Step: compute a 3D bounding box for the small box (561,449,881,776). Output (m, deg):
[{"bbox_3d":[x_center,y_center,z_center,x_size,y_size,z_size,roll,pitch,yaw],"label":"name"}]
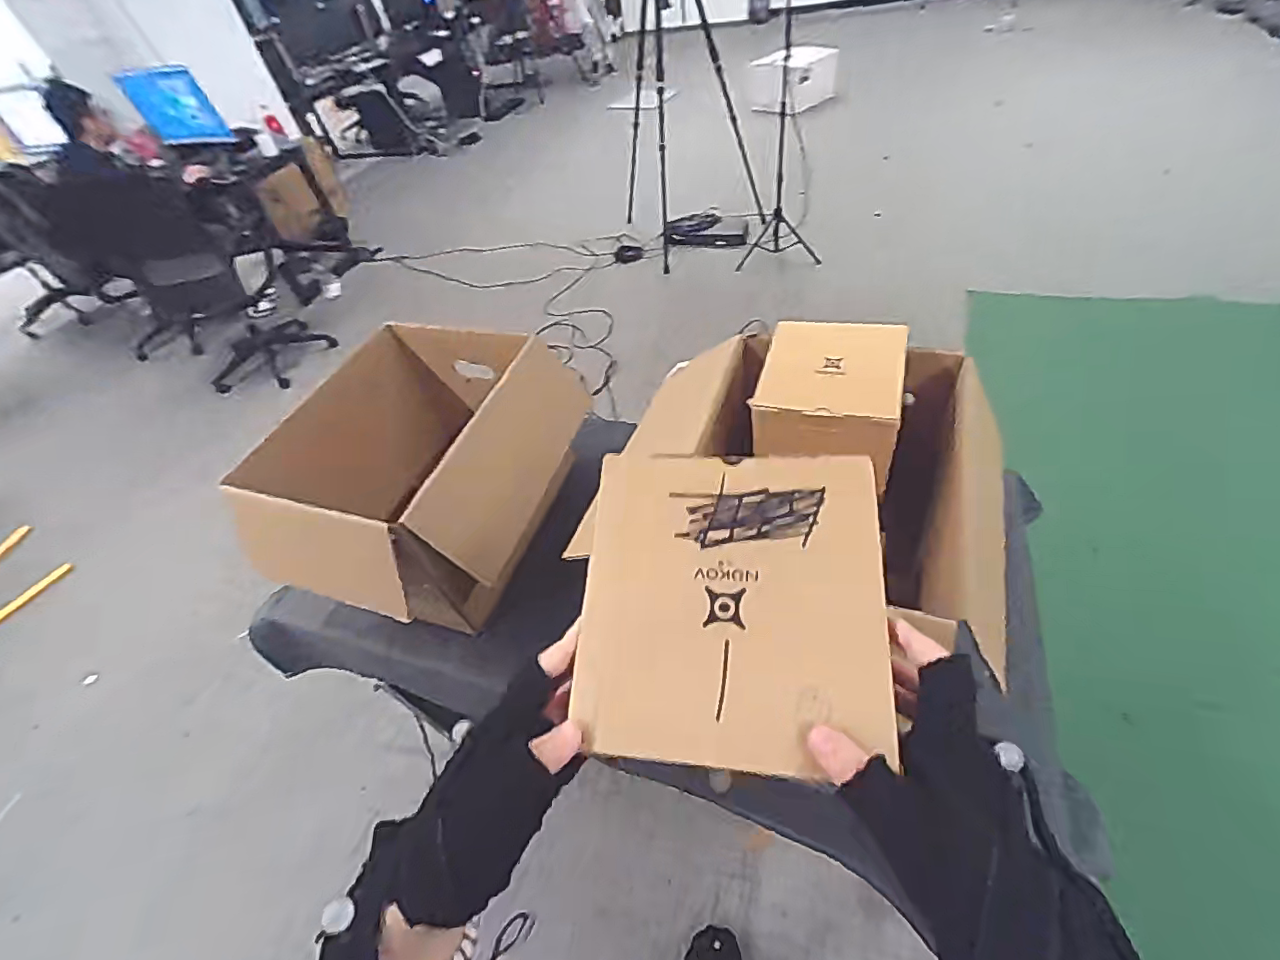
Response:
[{"bbox_3d":[0.059,0.096,0.381,0.168,0.176,0.179,2,65,12],"label":"small box"}]
